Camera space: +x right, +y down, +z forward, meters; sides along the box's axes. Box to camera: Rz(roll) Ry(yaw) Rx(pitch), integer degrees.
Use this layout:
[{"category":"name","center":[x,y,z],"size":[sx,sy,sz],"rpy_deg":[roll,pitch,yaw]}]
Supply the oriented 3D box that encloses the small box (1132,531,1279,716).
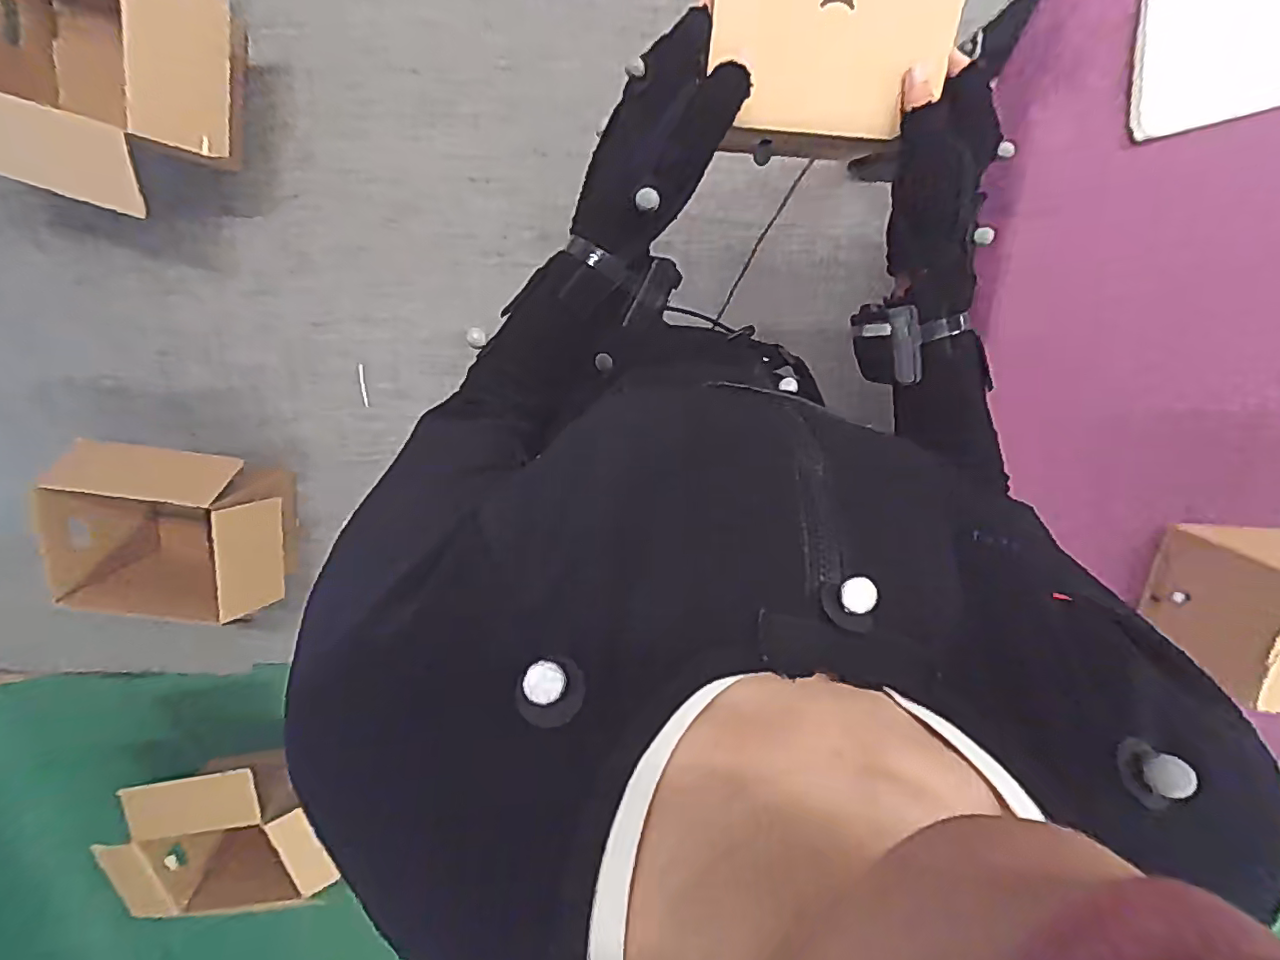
[{"category":"small box","center":[0.790,0.172,0.673],"size":[0.179,0.176,0.168],"rpy_deg":[3,107,1]}]
